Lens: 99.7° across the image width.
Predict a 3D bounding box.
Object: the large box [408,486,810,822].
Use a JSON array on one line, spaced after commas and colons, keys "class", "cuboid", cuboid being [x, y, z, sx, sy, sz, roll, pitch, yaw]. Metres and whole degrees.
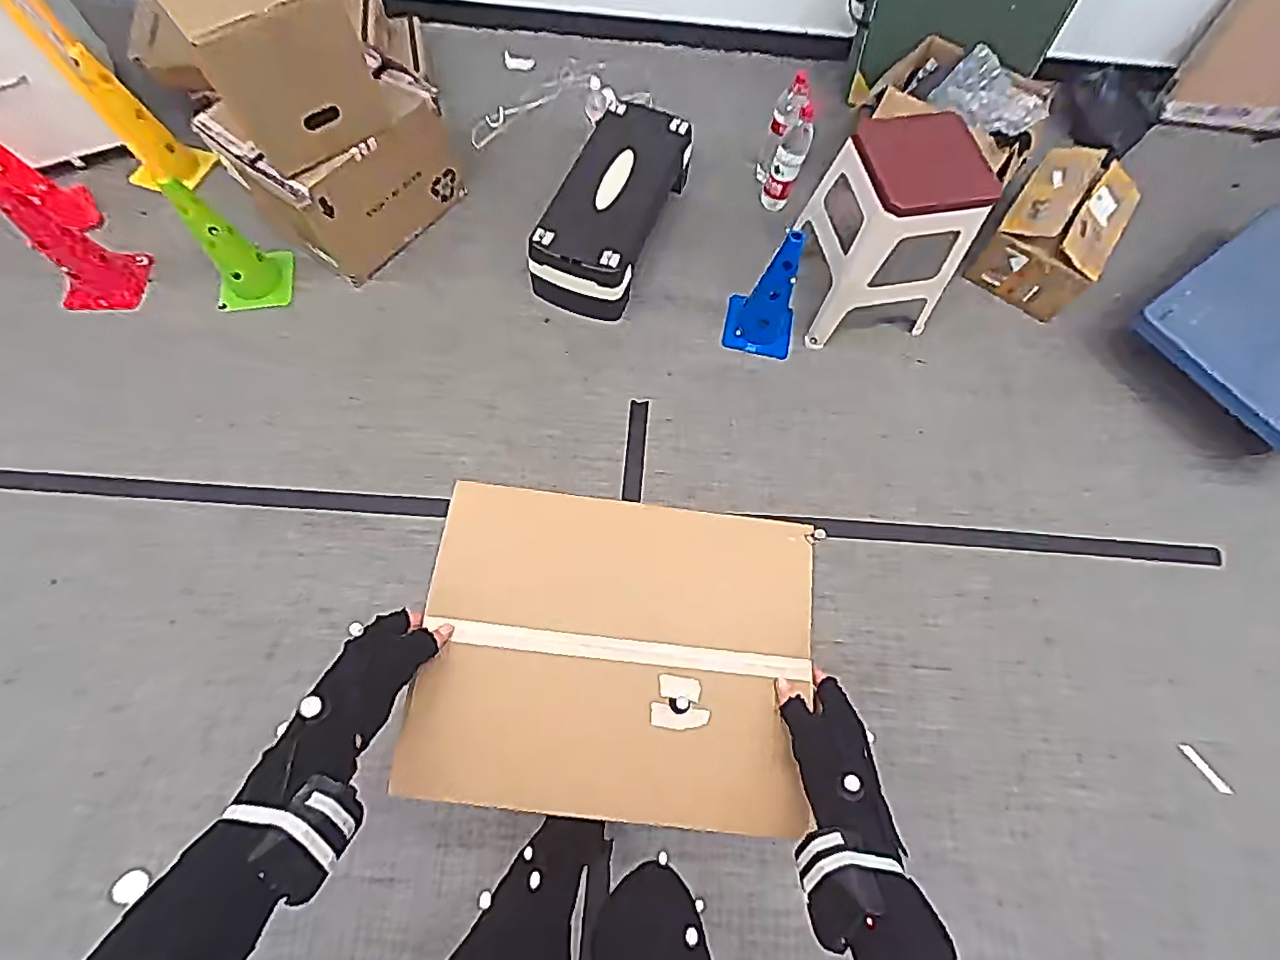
[{"class": "large box", "cuboid": [-0.027, 0.218, 0.714, 0.408, 0.320, 0.320, 8, 73, -2]}]
